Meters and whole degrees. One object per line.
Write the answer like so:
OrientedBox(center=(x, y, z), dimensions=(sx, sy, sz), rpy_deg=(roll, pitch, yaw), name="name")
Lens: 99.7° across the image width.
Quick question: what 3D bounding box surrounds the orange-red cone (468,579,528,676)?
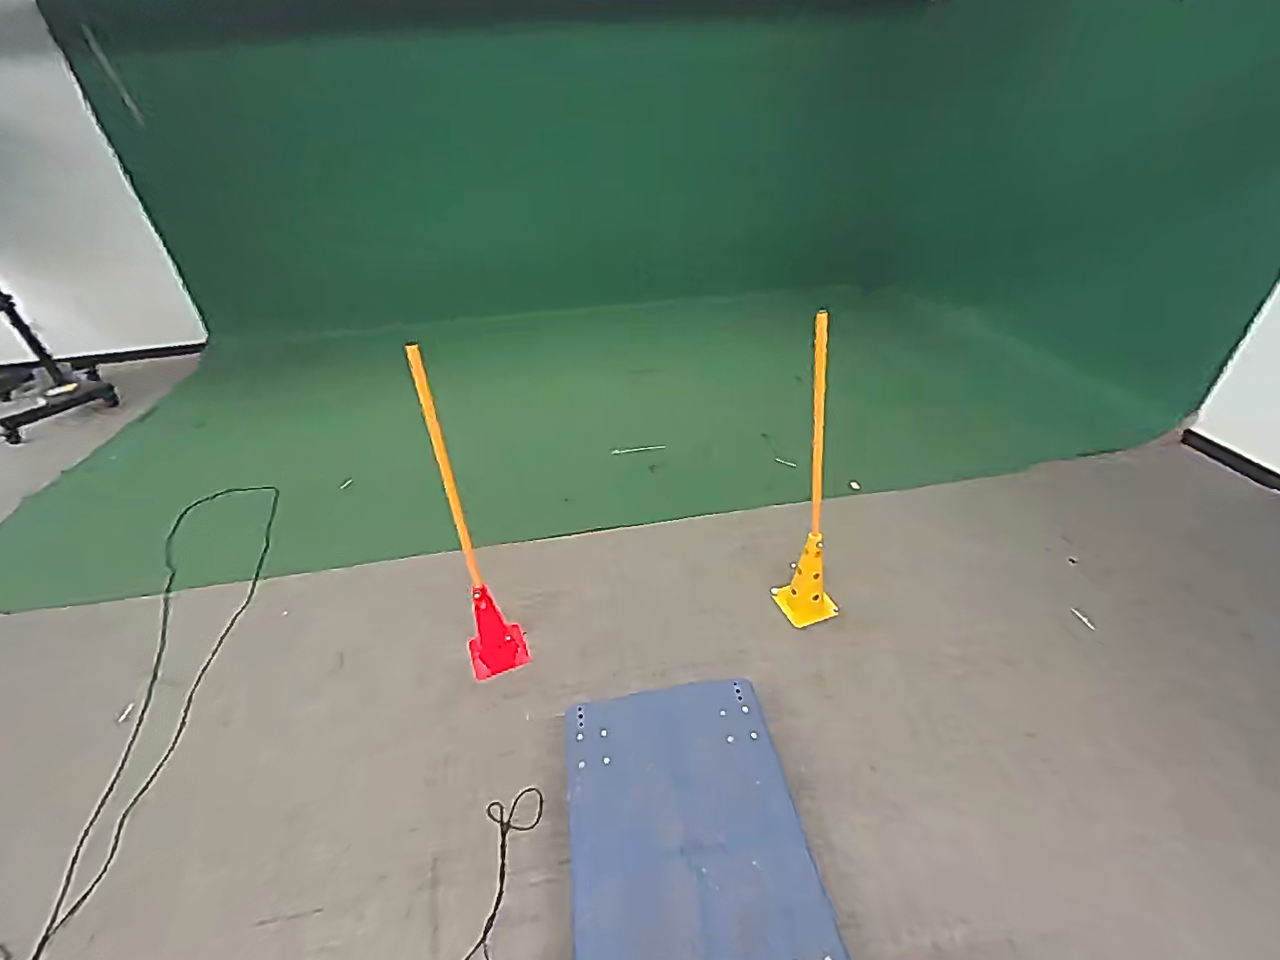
OrientedBox(center=(-0.540, 0.487, 1.906), dimensions=(0.199, 0.360, 0.198), rpy_deg=(-18, 38, -16), name="orange-red cone")
